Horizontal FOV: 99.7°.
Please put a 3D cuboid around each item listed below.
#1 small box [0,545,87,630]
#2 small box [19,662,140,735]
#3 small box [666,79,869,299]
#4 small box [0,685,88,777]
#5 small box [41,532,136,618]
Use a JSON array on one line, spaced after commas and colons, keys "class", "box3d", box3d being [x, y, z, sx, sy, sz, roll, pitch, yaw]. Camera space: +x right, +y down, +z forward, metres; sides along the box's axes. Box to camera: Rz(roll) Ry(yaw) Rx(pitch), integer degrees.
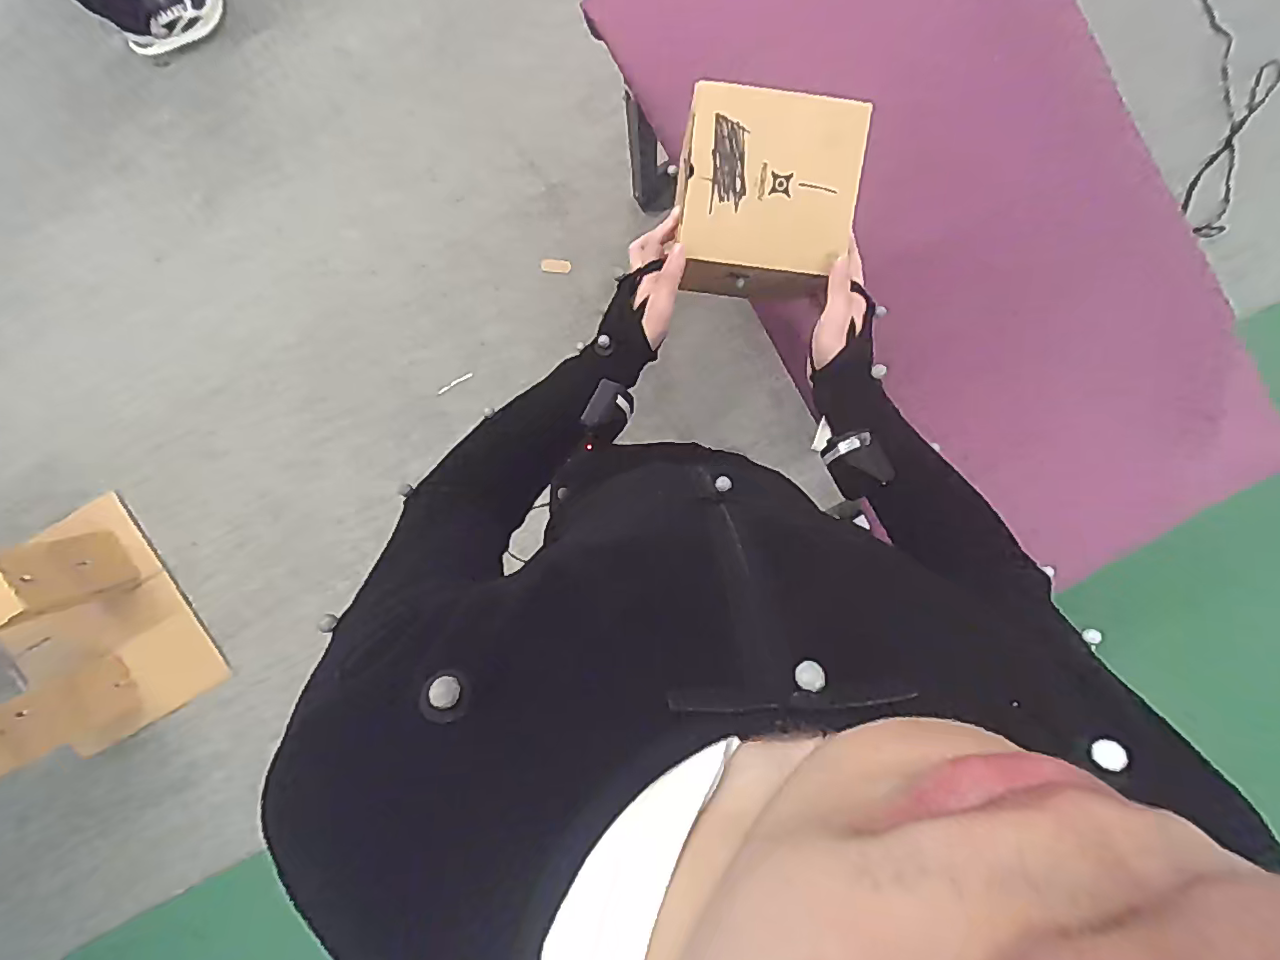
[{"class": "small box", "box3d": [-1.674, 0.288, 1.449, 0.168, 0.176, 0.179, -29, 96, 3]}, {"class": "small box", "box3d": [-1.703, 0.677, 1.648, 0.168, 0.176, 0.179, -21, 95, 3]}, {"class": "small box", "box3d": [0.126, -0.309, 0.612, 0.179, 0.176, 0.168, 6, 99, -3]}, {"class": "small box", "box3d": [-1.701, 0.689, 1.484, 0.168, 0.176, 0.179, -22, 95, 4]}, {"class": "small box", "box3d": [-1.678, 0.275, 1.609, 0.168, 0.176, 0.179, -28, 95, 3]}]
